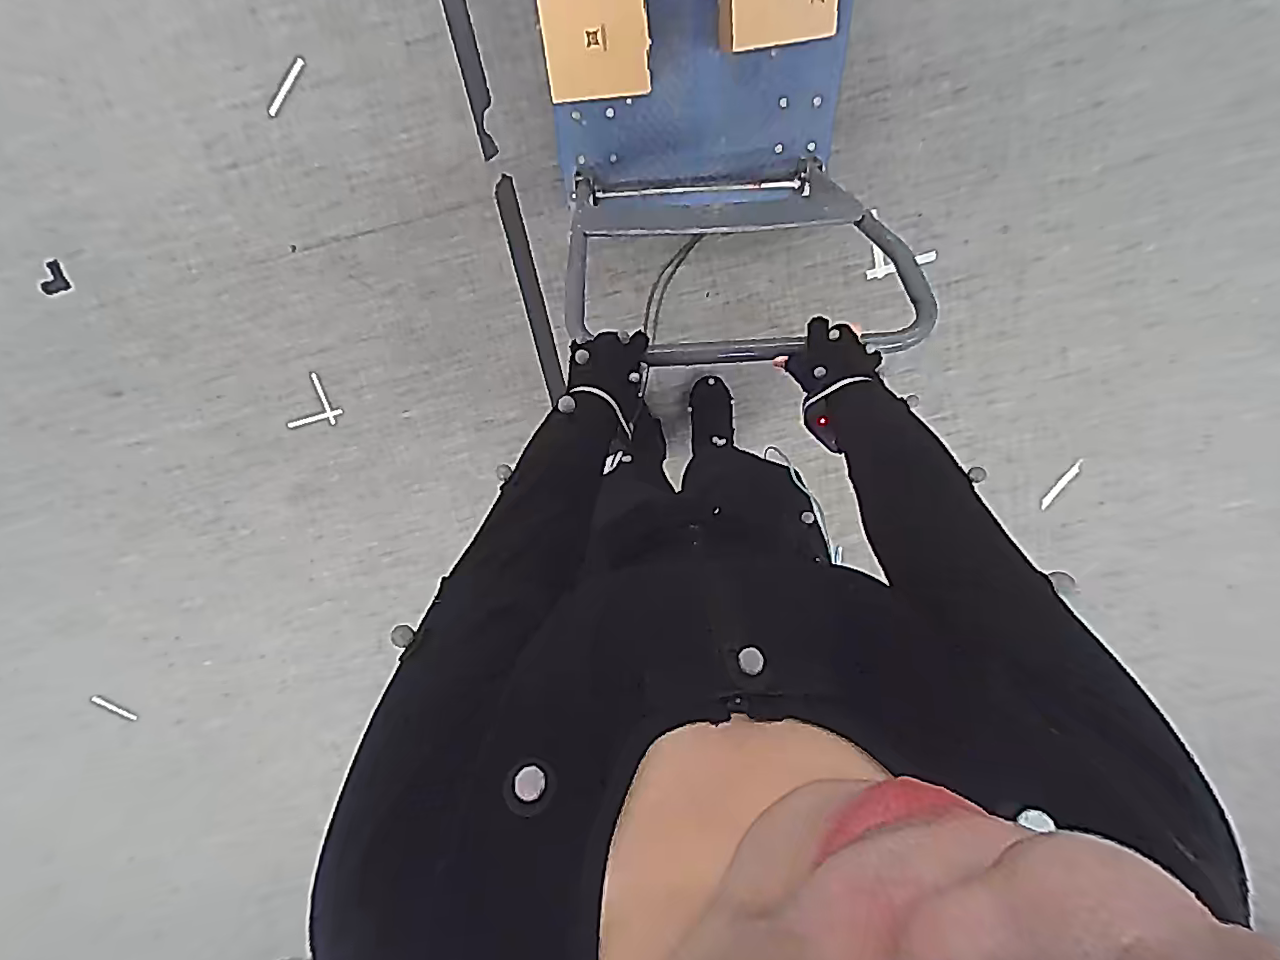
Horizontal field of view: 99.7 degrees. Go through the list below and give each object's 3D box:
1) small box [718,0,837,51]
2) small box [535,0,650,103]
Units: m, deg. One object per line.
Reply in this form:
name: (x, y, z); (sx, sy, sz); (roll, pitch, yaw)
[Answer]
small box: (0.227, -0.841, 0.916); (0.179, 0.176, 0.168); (-7, 129, 3)
small box: (-0.078, -0.778, 0.956); (0.179, 0.176, 0.168); (-6, 129, 1)
